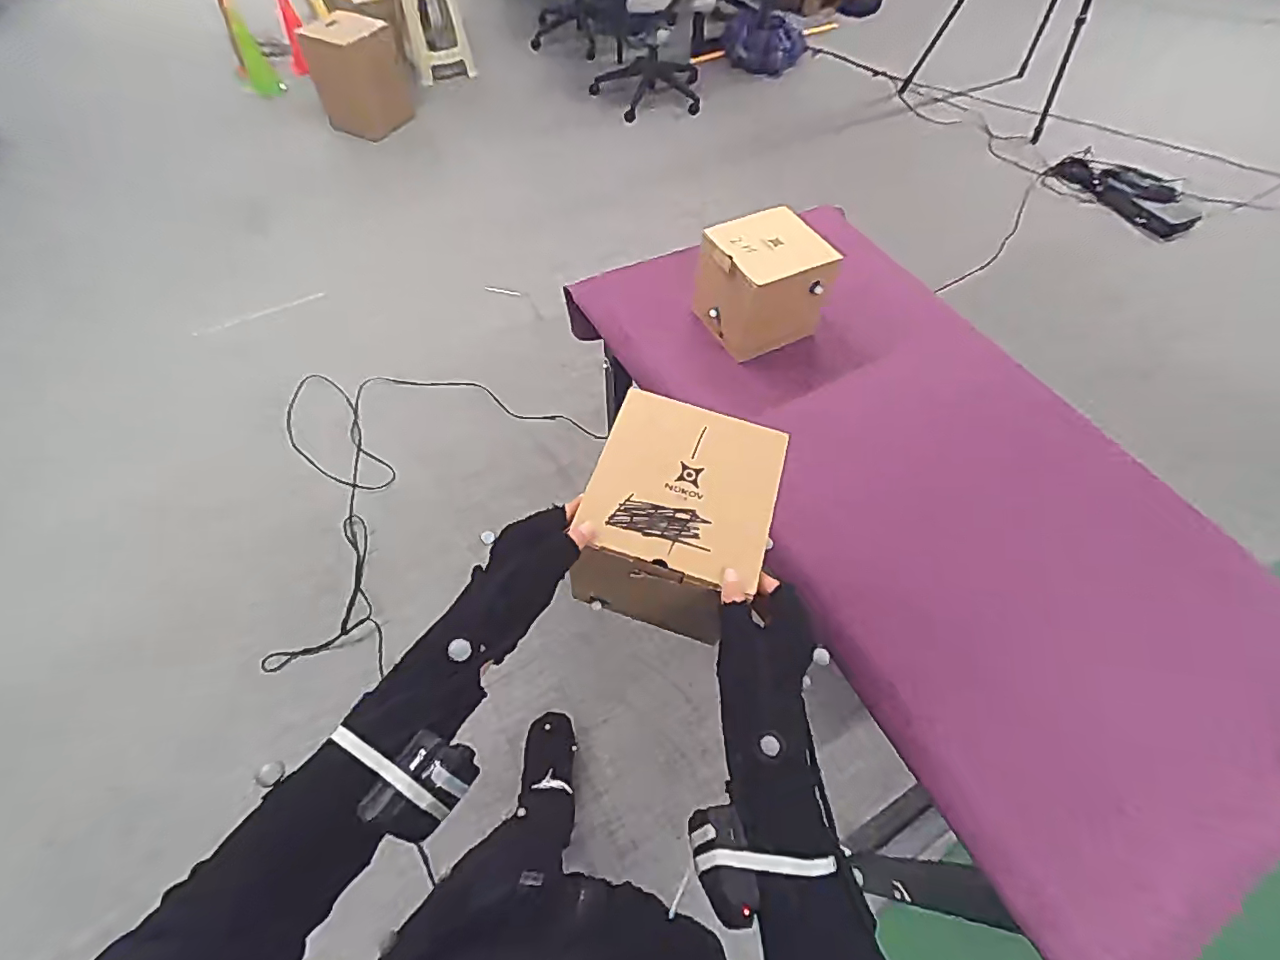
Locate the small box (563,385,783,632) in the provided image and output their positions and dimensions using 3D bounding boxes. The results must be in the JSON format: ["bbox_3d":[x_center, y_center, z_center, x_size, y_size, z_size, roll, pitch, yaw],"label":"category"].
[{"bbox_3d":[0.032,0.038,0.564,0.168,0.176,0.179,18,59,5],"label":"small box"}]

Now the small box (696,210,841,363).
[{"bbox_3d":[0.217,-0.342,0.967,0.179,0.176,0.168,-24,61,-15],"label":"small box"}]
